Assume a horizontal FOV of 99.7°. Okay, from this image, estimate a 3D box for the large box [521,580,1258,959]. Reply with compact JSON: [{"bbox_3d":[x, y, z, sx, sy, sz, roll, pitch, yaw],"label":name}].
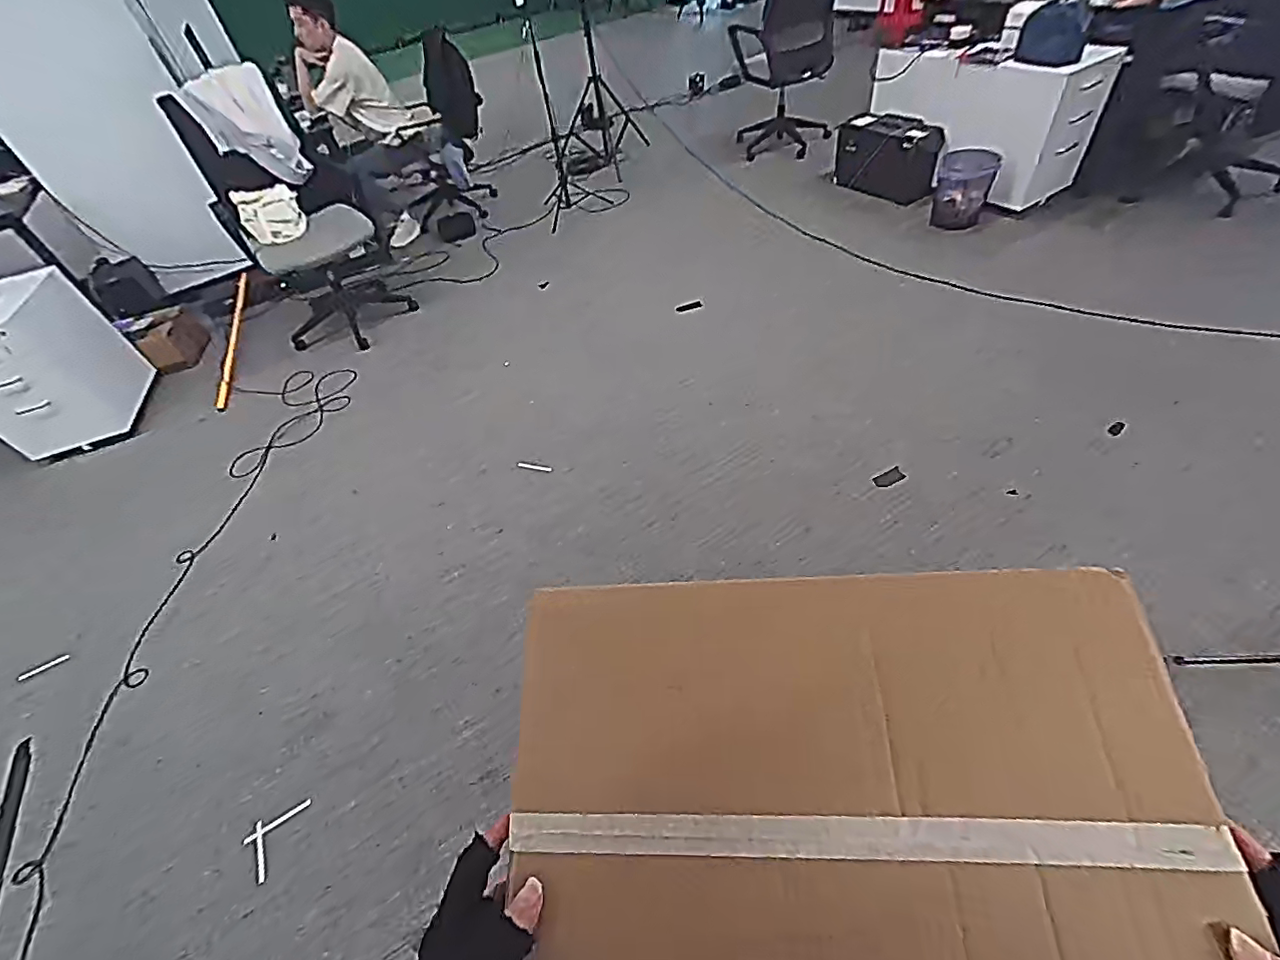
[{"bbox_3d":[0.144,0.285,0.459,0.408,0.320,0.320,-4,65,8],"label":"large box"}]
